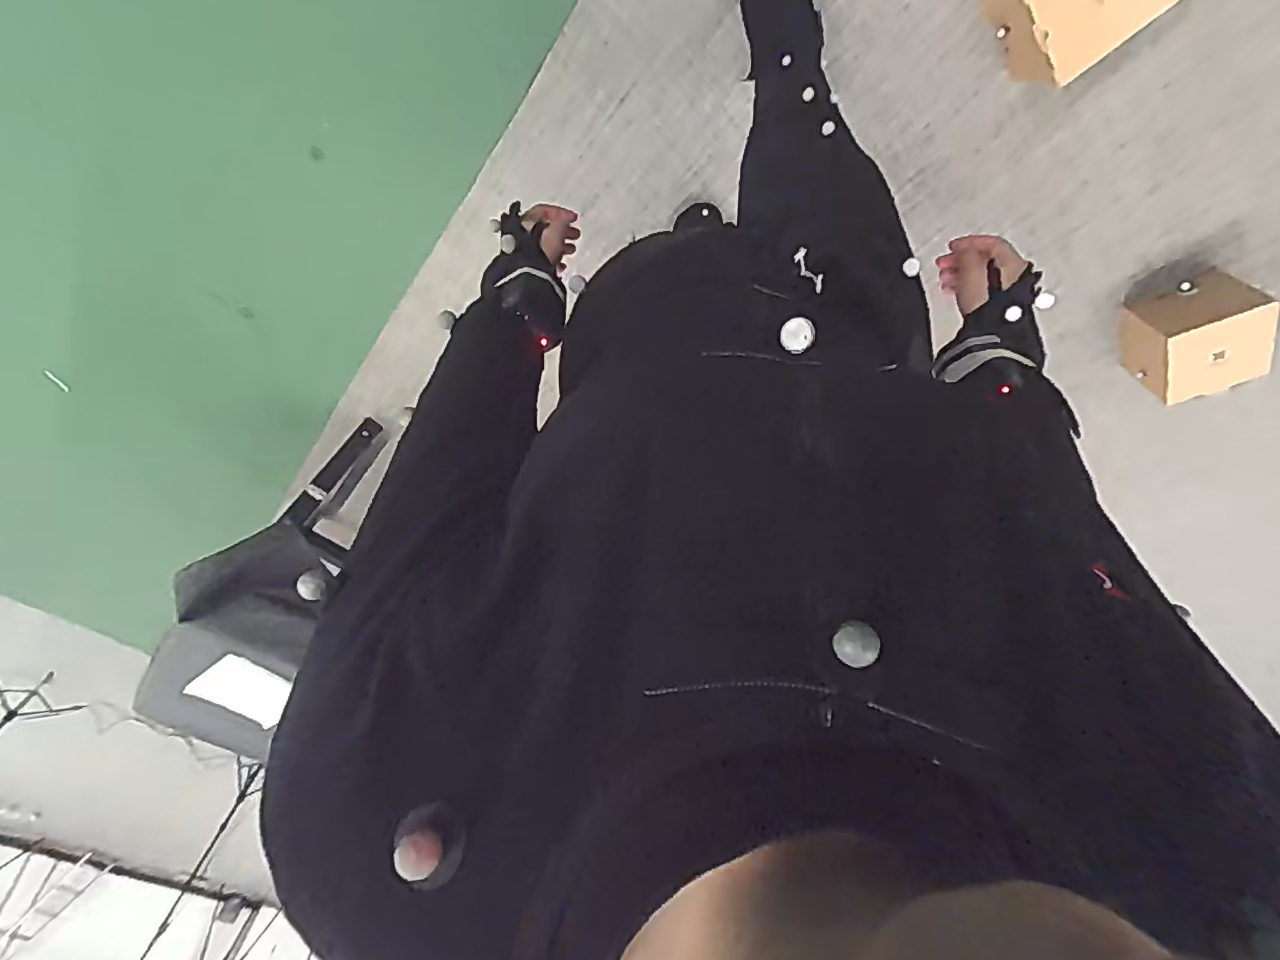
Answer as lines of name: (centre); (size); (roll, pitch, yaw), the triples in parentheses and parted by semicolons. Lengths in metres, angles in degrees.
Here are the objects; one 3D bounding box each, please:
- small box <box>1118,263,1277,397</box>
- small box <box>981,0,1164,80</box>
small box: (1.126, -0.309, 1.107); (0.168, 0.176, 0.179); (-22, 124, 24)
small box: (0.643, -0.743, 0.796); (0.179, 0.176, 0.168); (-33, 119, 32)
